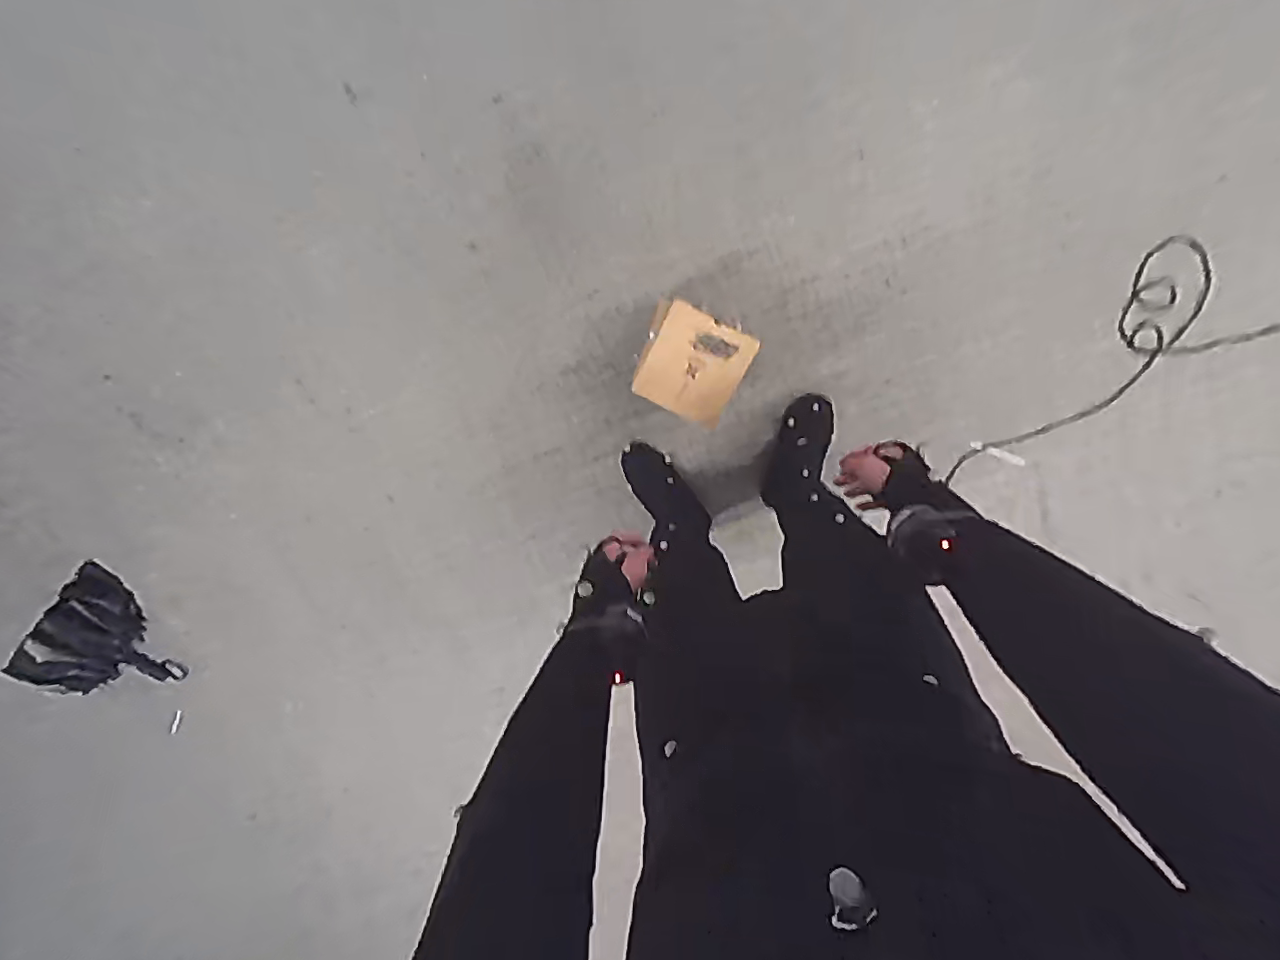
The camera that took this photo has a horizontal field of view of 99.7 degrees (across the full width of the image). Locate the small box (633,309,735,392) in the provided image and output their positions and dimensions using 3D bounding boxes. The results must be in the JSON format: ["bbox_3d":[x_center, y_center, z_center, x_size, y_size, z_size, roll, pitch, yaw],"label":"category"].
[{"bbox_3d":[0.093,-0.256,1.171,0.168,0.176,0.179,19,105,-3],"label":"small box"}]

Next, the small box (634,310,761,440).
[{"bbox_3d":[0.101,-0.202,1.015,0.168,0.176,0.179,27,107,-5],"label":"small box"}]
